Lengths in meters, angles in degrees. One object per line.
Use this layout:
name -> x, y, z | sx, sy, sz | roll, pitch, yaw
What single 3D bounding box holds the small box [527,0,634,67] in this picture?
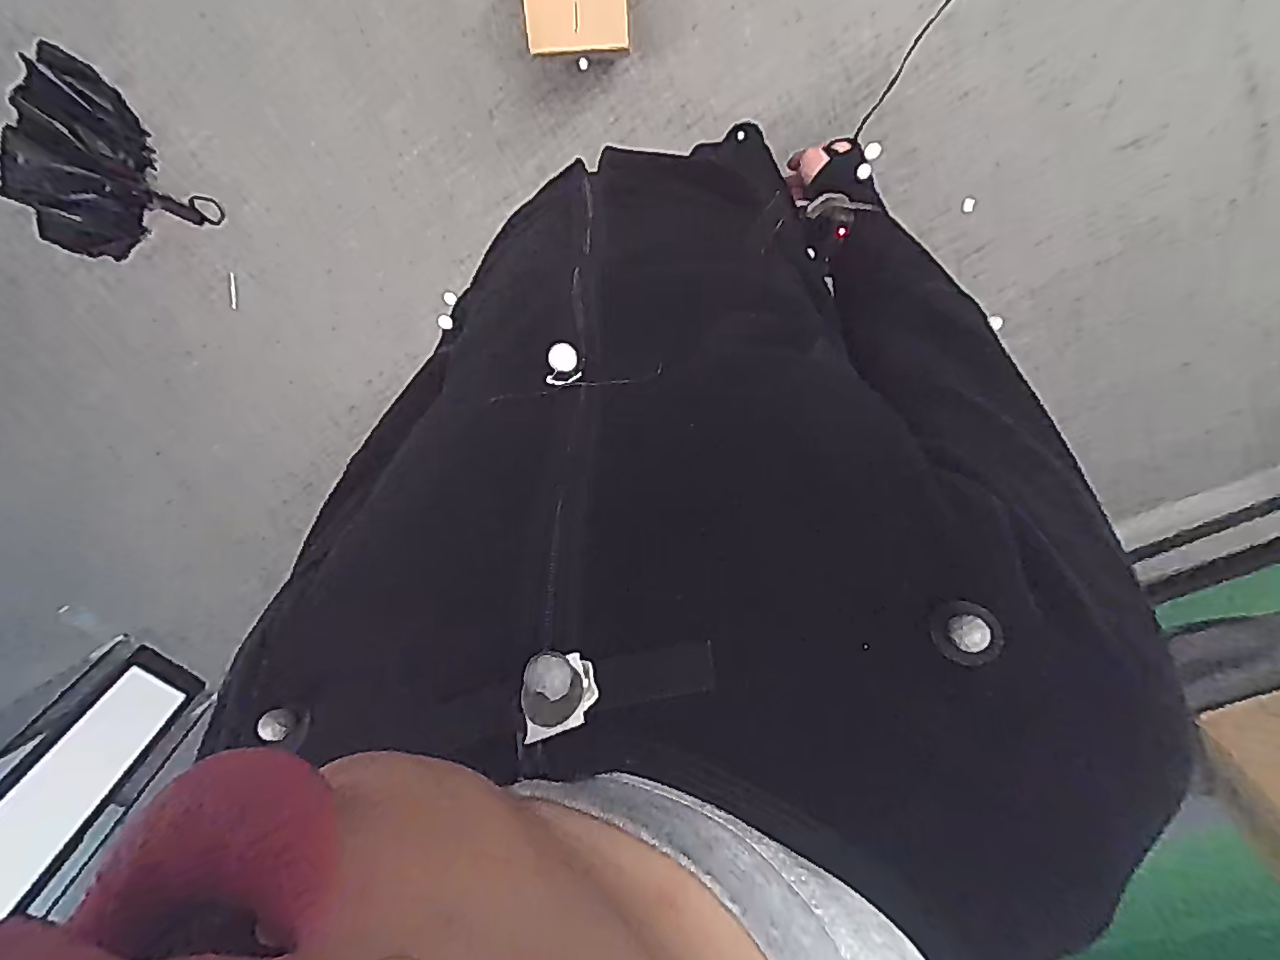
small box -> -0.097, -0.817, 0.911 | 0.168, 0.176, 0.179 | -1, 124, 3
